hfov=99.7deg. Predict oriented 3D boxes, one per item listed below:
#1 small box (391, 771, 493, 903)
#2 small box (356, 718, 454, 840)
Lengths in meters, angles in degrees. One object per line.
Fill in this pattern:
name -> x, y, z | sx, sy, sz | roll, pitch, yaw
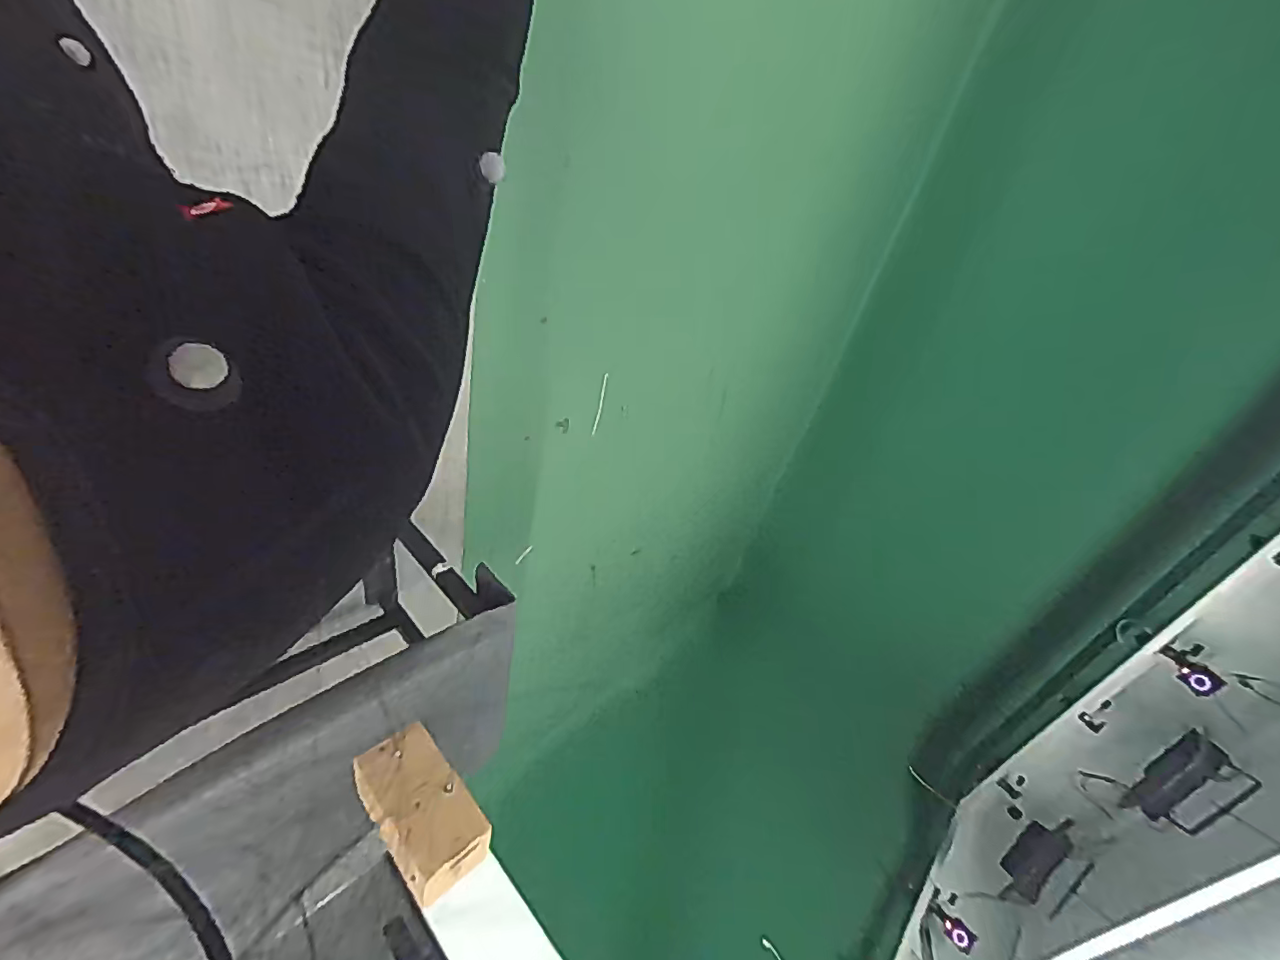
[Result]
small box -> -0.469, 0.826, 1.270 | 0.168, 0.176, 0.179 | -21, 140, -43
small box -> -0.584, 0.736, 1.345 | 0.168, 0.176, 0.179 | -24, 141, -43
